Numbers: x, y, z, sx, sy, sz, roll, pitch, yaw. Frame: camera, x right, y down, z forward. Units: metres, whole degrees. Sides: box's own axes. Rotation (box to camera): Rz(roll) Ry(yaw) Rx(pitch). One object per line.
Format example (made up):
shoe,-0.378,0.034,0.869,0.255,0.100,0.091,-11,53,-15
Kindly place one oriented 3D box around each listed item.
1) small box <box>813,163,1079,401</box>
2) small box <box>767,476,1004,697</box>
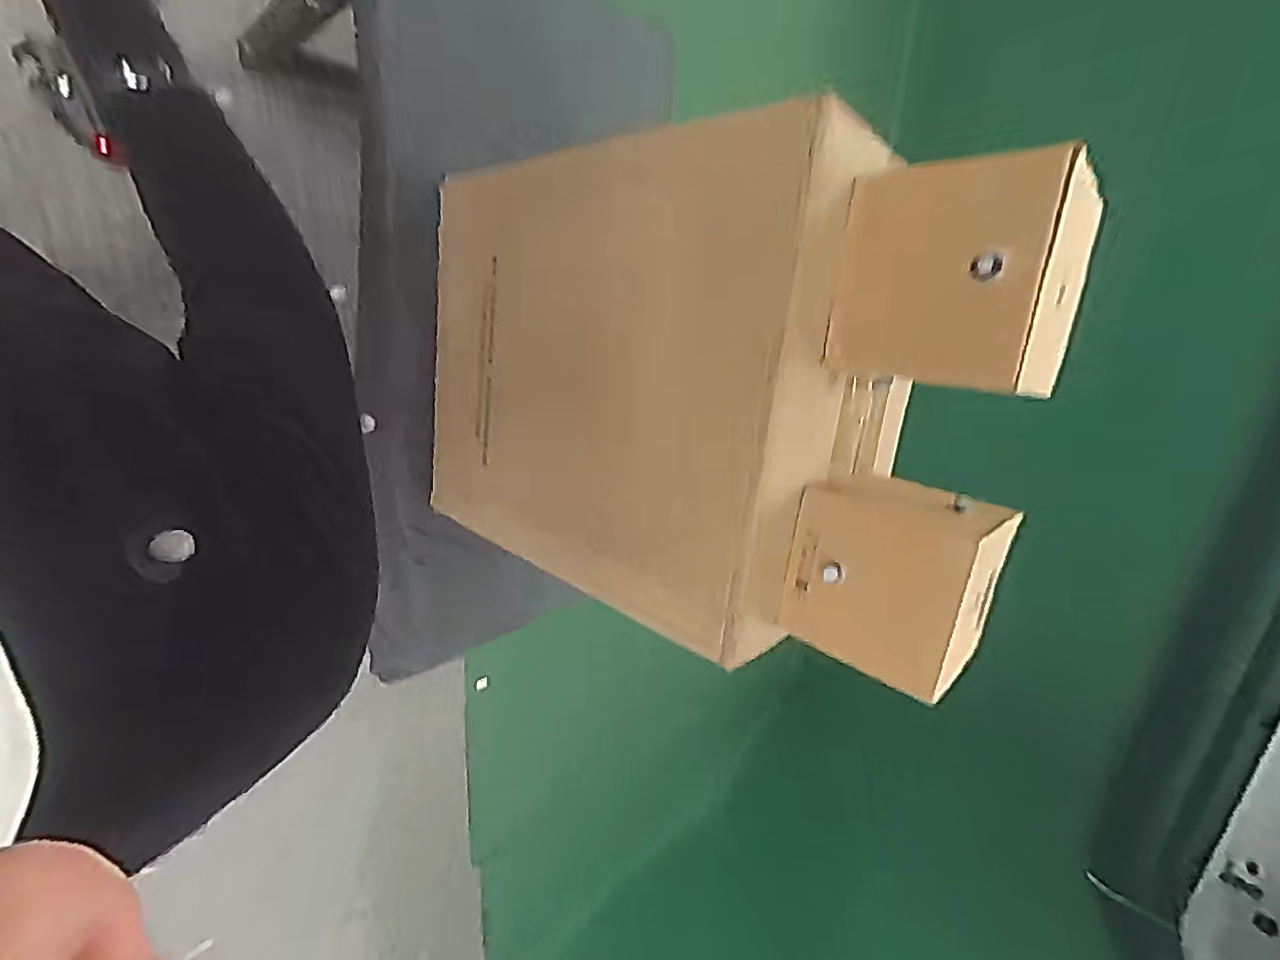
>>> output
small box,0.289,-0.177,0.524,0.168,0.176,0.179,-7,111,-45
small box,0.269,0.099,0.604,0.179,0.176,0.168,-8,112,-46
